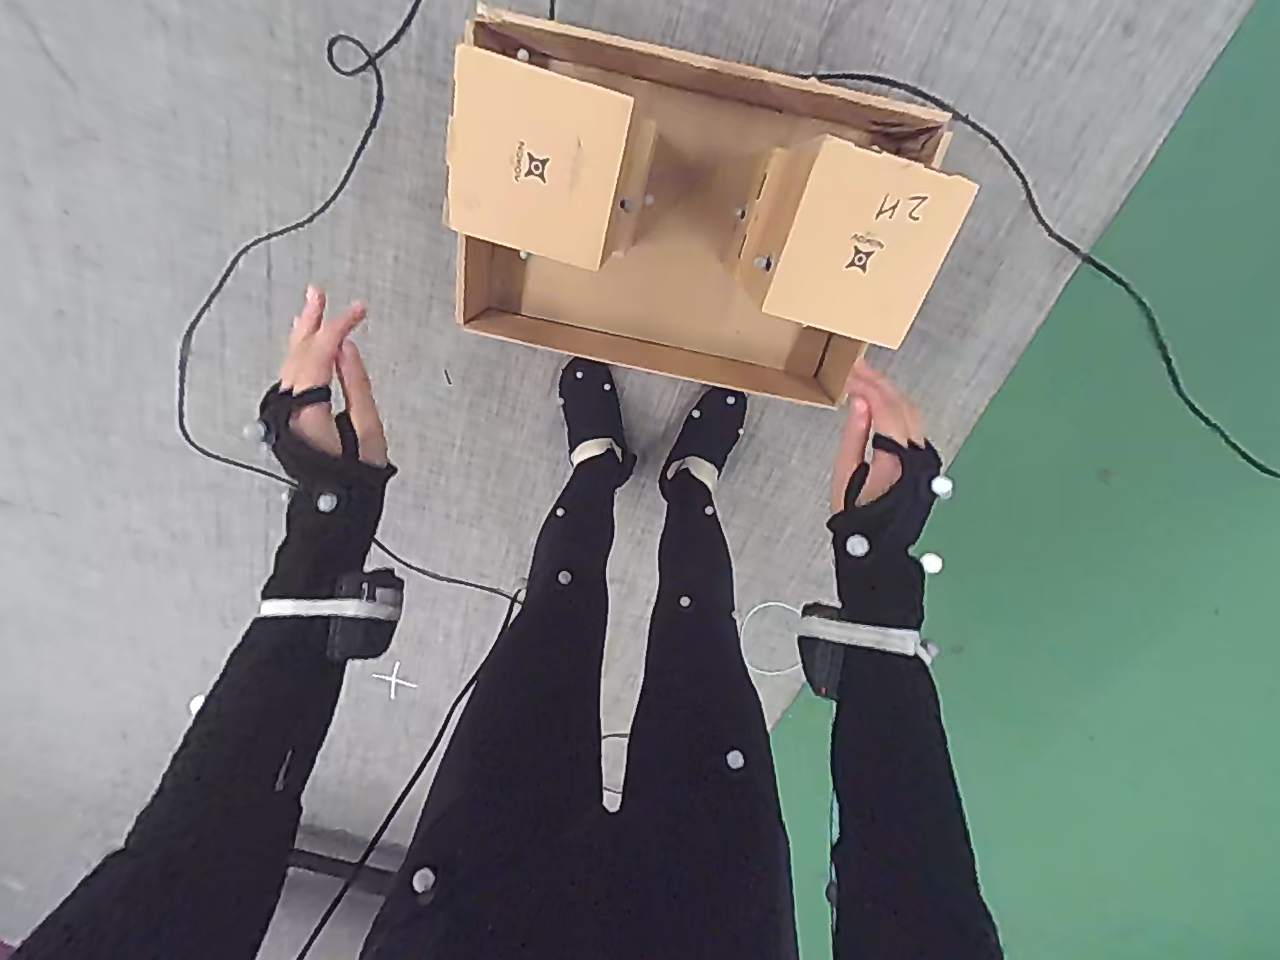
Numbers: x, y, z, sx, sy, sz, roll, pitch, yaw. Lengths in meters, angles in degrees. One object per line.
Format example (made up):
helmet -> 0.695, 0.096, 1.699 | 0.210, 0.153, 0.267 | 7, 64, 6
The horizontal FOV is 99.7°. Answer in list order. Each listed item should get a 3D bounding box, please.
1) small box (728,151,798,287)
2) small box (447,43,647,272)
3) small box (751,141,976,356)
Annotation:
small box -> 0.237, -0.352, 0.785 | 0.179, 0.176, 0.168 | 16, 117, -4
small box -> -0.098, -0.356, 0.620 | 0.179, 0.176, 0.168 | 16, 119, -5
small box -> 0.240, -0.271, 0.640 | 0.168, 0.176, 0.179 | 15, 117, -6
